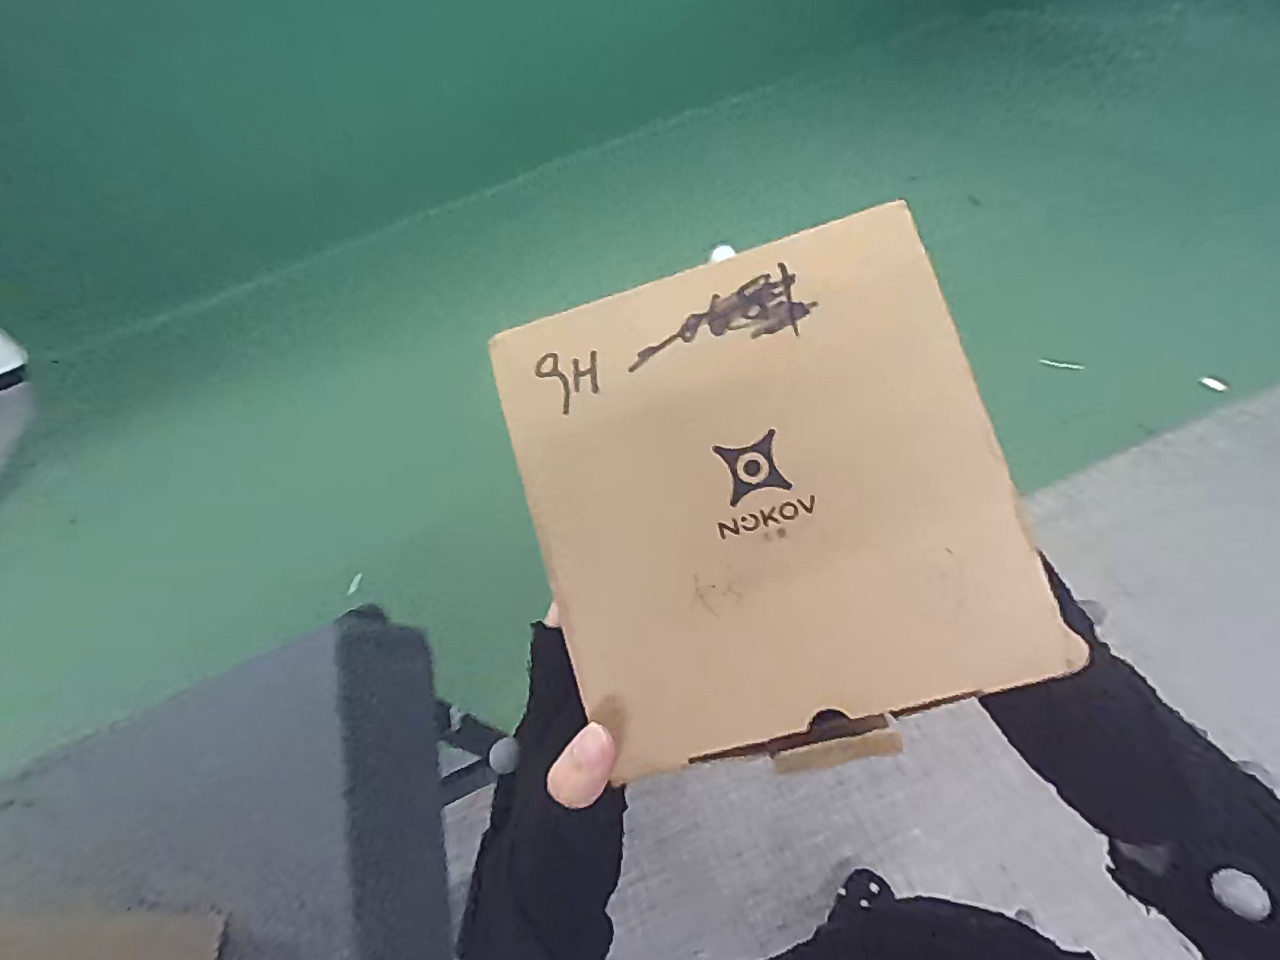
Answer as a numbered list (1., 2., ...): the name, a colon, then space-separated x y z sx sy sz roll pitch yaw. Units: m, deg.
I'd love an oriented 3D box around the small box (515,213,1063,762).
1. small box: 0.058 0.007 0.282 0.168 0.176 0.179 -16 85 5
